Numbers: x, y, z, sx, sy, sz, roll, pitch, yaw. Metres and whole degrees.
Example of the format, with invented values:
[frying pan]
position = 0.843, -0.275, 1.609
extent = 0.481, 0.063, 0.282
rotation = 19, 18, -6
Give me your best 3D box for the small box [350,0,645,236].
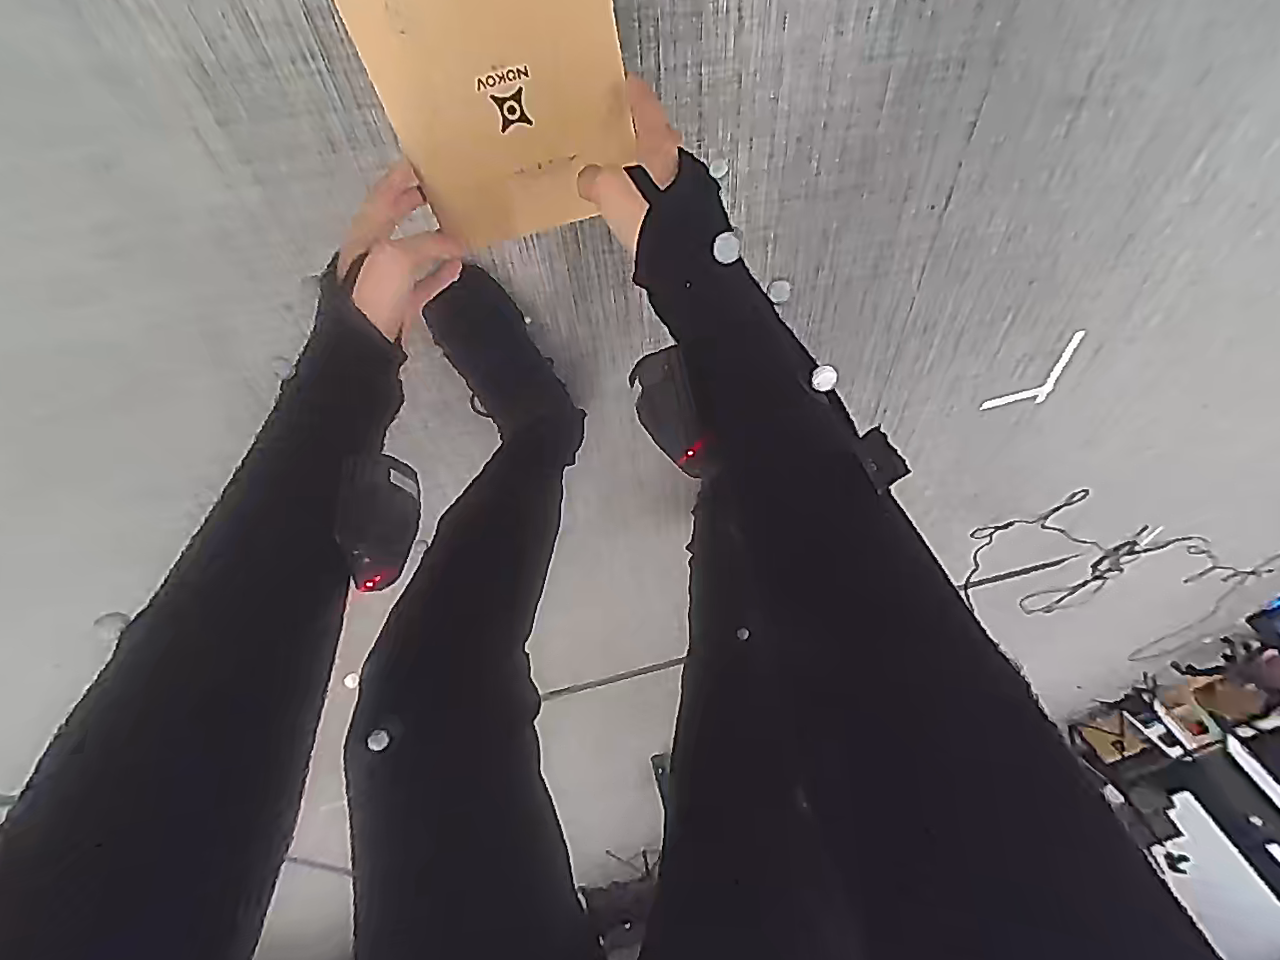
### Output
[small box]
position = -0.101, -0.329, 0.430
extent = 0.168, 0.176, 0.179
rotation = -13, 136, 3
